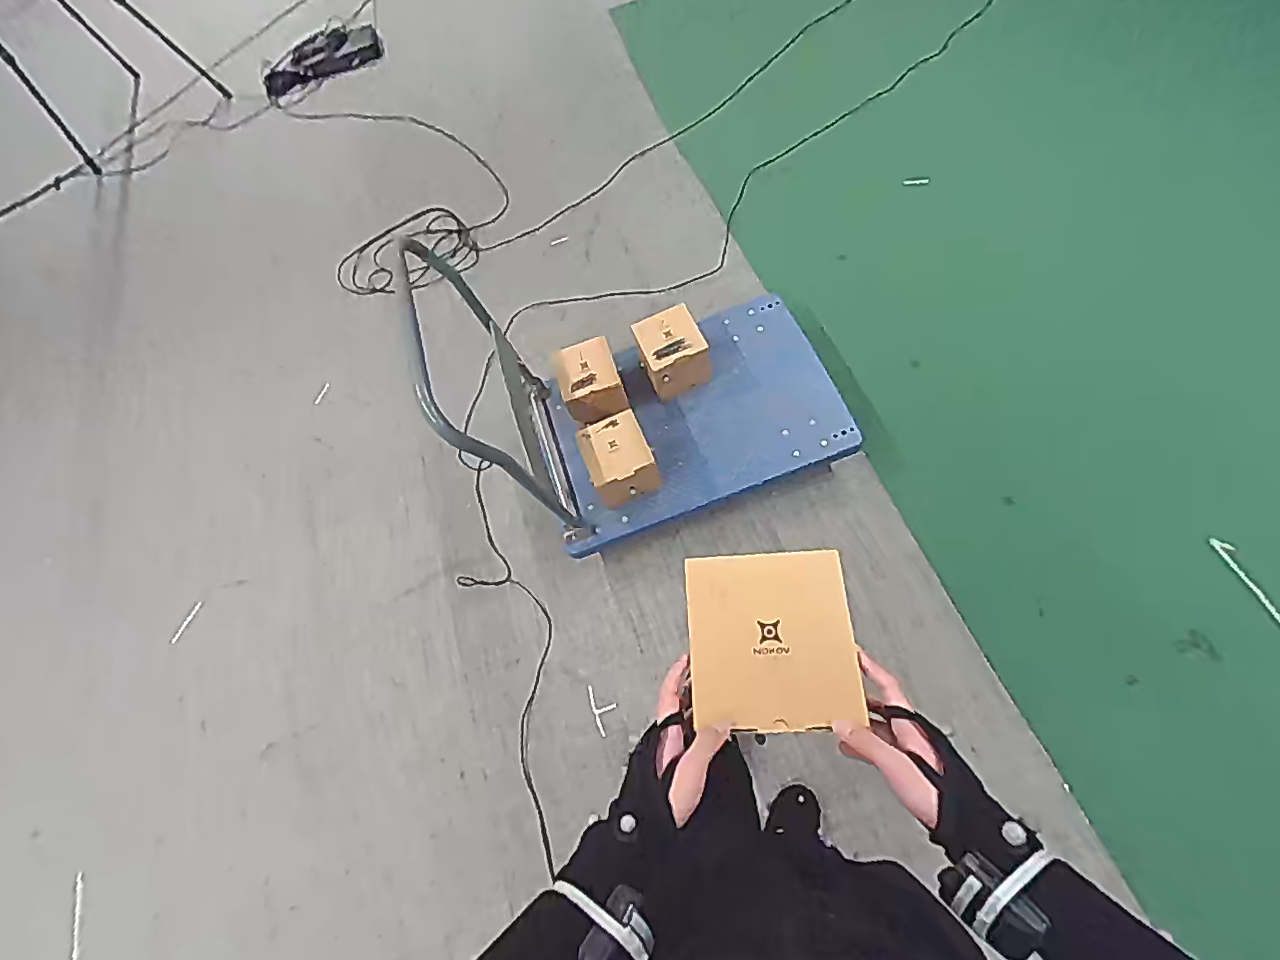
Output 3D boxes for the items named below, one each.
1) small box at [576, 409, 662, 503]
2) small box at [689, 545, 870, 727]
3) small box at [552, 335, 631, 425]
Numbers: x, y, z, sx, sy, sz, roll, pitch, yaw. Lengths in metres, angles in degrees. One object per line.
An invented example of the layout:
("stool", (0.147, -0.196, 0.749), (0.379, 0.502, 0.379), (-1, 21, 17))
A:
("small box", (-0.051, -0.054, 1.446), (0.168, 0.176, 0.179), (-23, 66, 0))
("small box", (0.142, 0.185, 0.619), (0.168, 0.176, 0.179), (-4, 66, 6))
("small box", (-0.134, -0.278, 1.555), (0.168, 0.176, 0.179), (-18, 65, 2))
